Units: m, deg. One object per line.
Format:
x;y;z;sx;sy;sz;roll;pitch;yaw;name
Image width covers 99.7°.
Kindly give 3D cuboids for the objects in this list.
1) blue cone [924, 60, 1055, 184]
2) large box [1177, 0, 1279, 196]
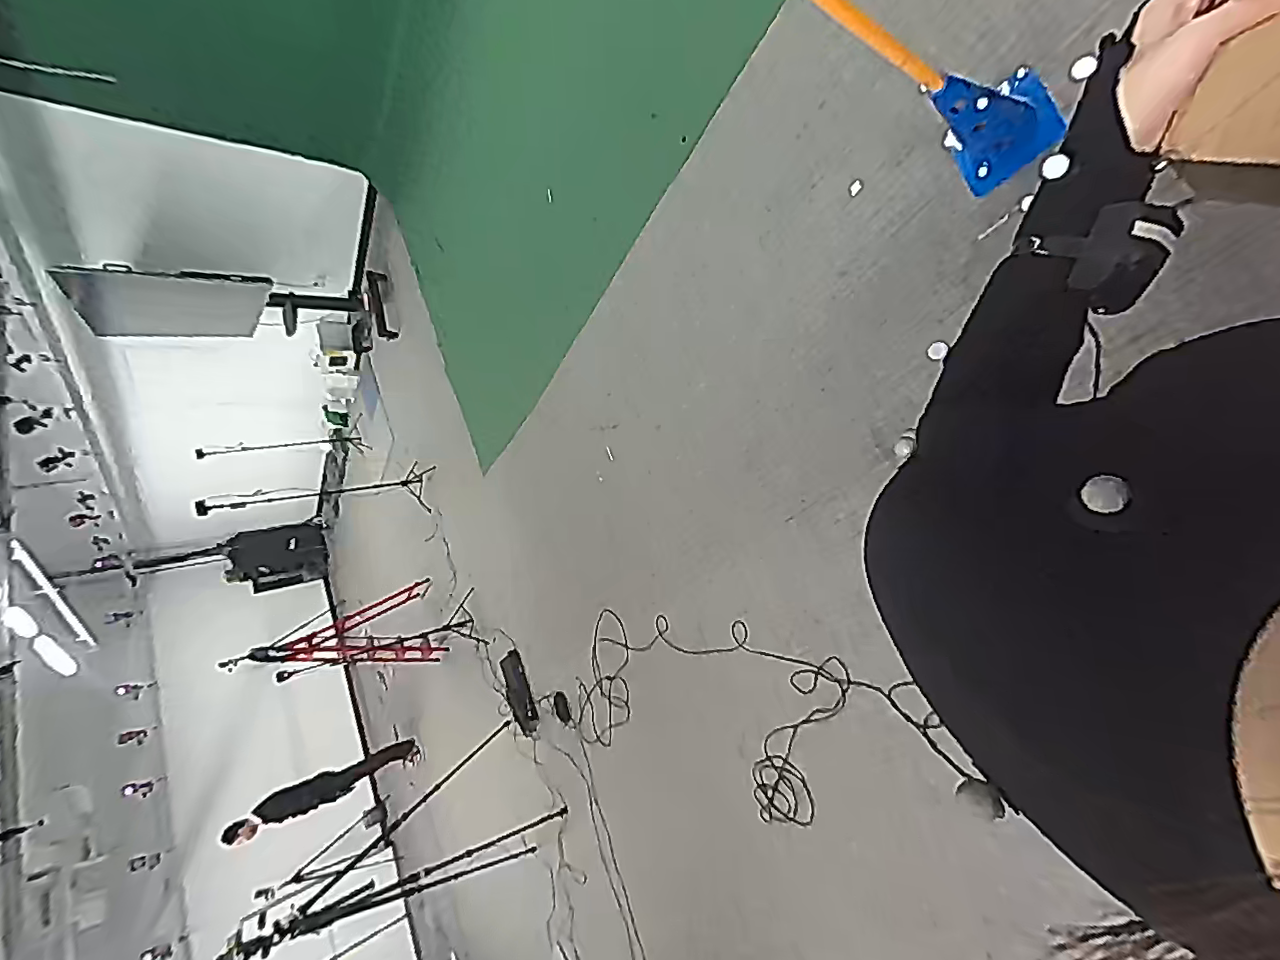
0.712;-0.805;1.161;0.193;0.380;0.192;-31;72;49;blue cone
0.621;-0.325;0.278;0.408;0.320;0.320;31;126;37;large box
